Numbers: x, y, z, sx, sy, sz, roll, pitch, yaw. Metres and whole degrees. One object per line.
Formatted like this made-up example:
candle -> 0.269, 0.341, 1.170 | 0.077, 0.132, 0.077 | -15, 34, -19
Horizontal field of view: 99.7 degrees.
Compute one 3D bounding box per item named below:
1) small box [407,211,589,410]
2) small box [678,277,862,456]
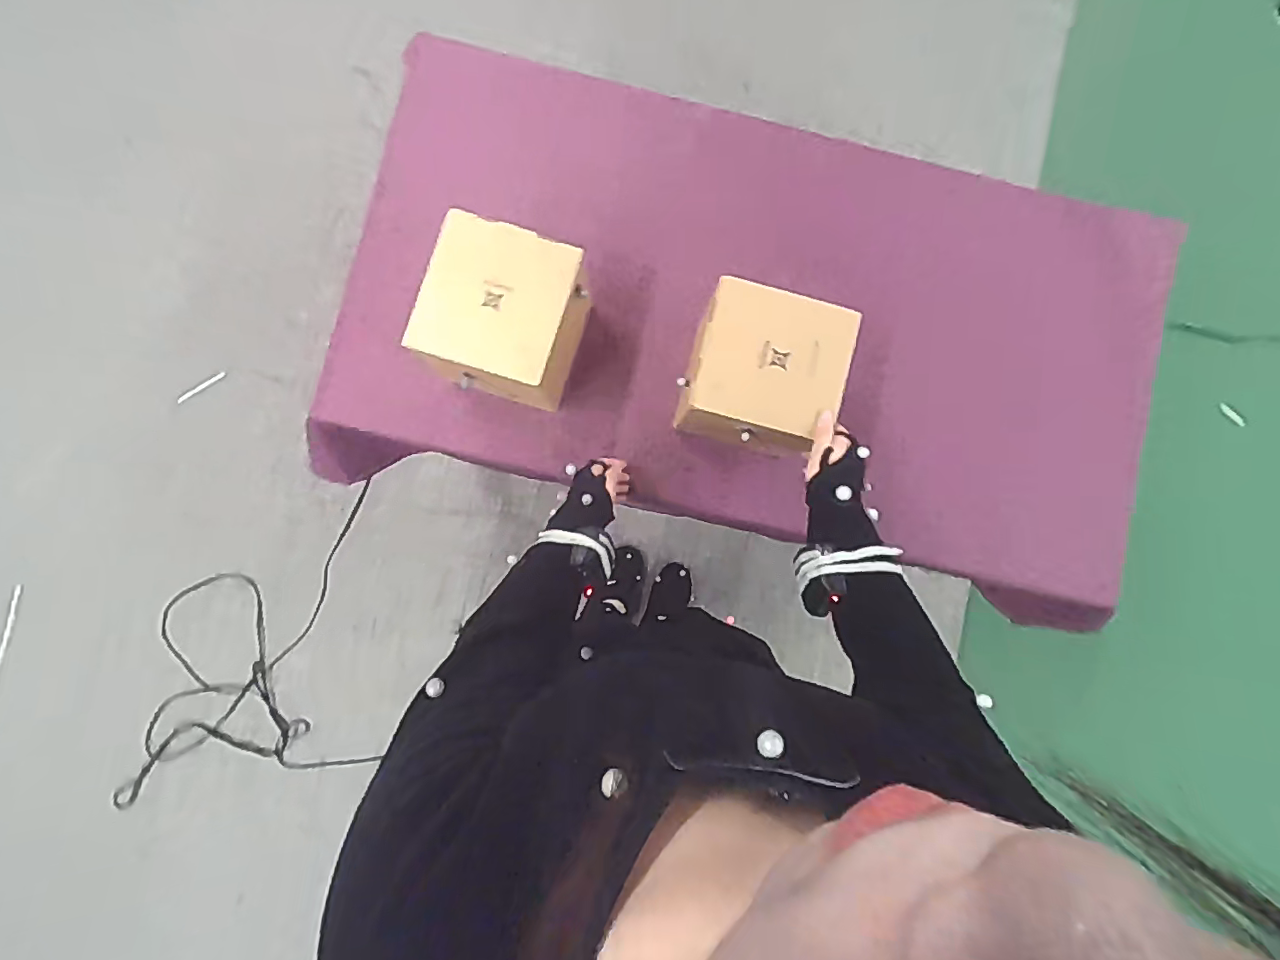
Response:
small box -> -0.170, -0.207, 0.711 | 0.168, 0.176, 0.179 | 17, 84, 0
small box -> 0.157, -0.135, 0.714 | 0.179, 0.176, 0.168 | 16, 86, -1
